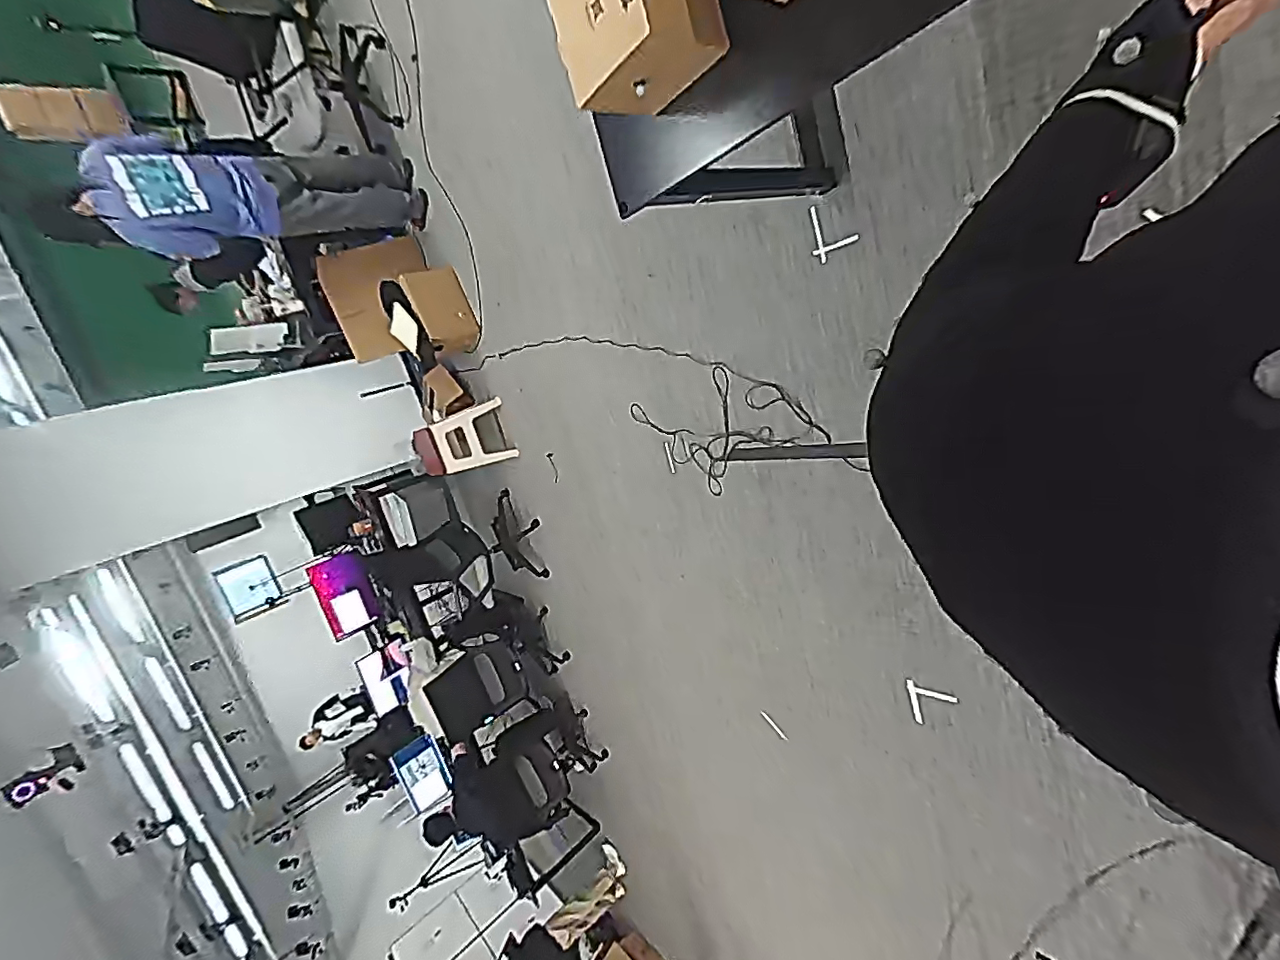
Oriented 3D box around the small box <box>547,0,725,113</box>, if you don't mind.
[{"bbox_3d":[-0.005,-0.675,0.799,0.179,0.176,0.168,-4,107,52],"label":"small box"}]
